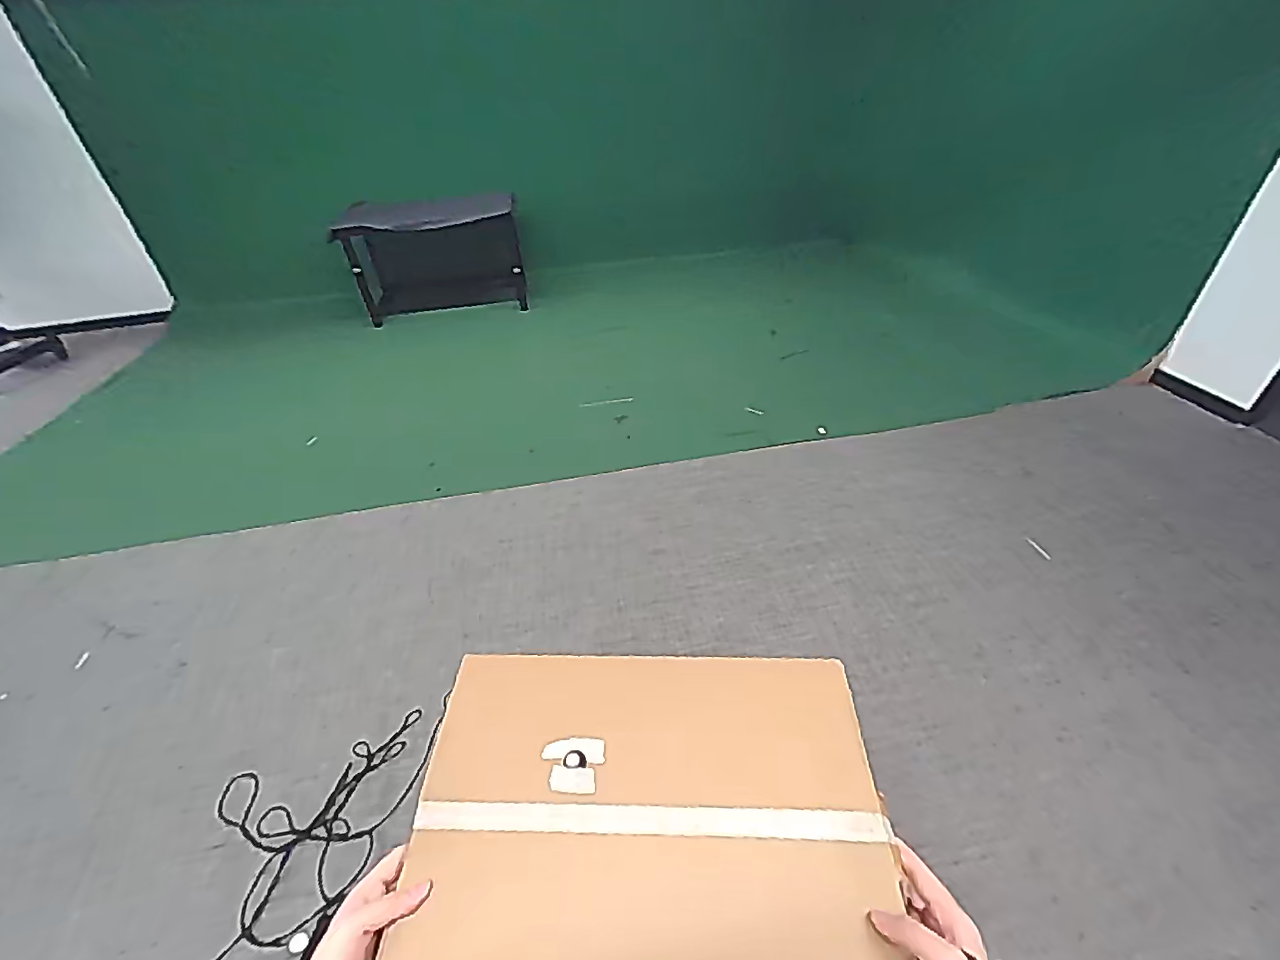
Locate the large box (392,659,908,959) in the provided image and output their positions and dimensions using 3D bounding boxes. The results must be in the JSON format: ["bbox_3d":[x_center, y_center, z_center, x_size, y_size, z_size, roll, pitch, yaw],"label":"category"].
[{"bbox_3d":[0.018,0.411,0.581,0.408,0.320,0.320,-2,44,5],"label":"large box"}]
